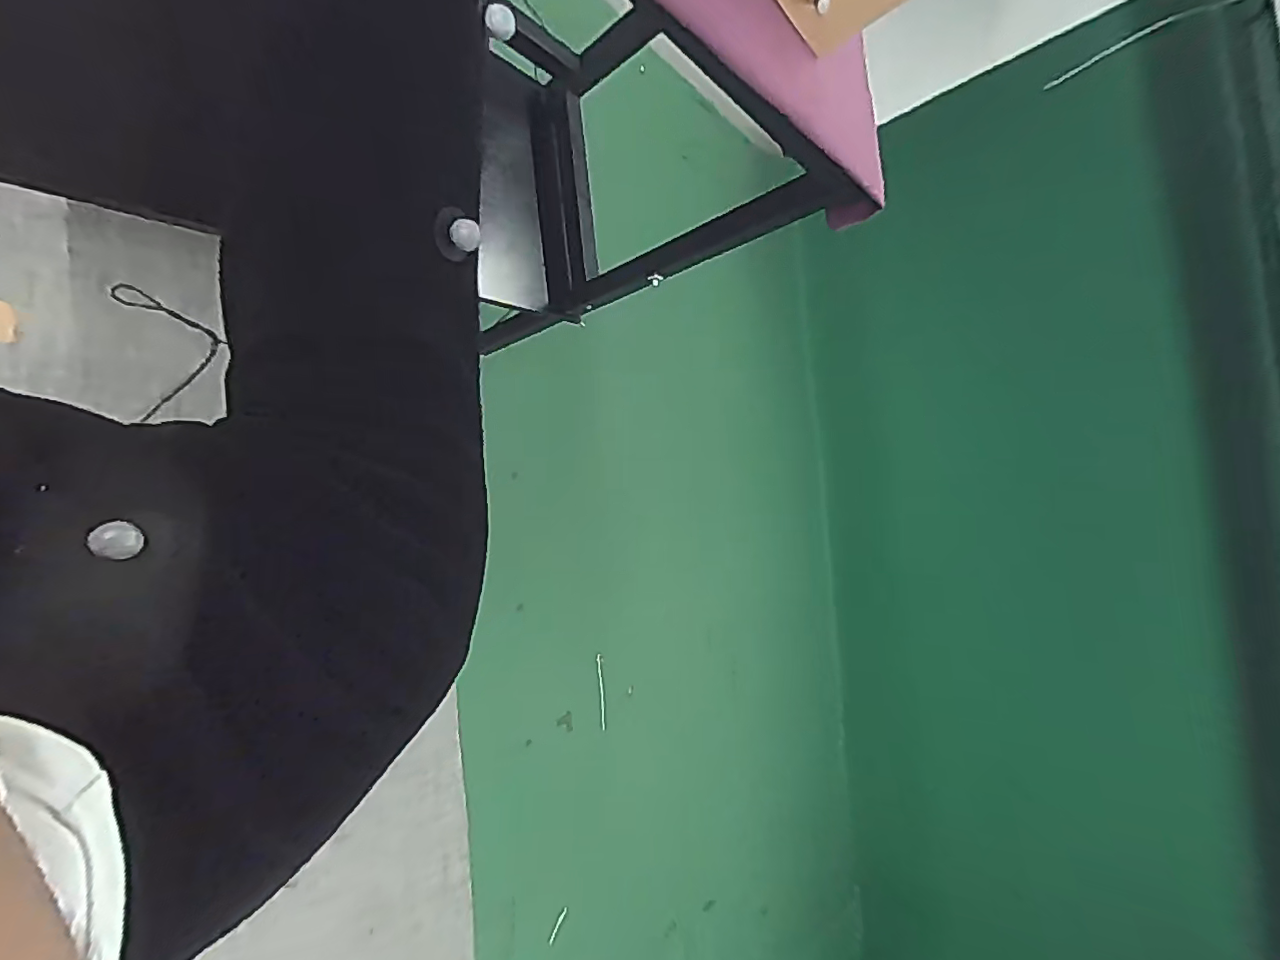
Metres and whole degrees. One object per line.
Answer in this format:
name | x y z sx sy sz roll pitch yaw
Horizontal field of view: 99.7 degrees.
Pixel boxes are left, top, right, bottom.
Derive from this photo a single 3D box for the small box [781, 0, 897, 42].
small box | 0.231 -0.650 0.606 0.179 0.176 0.168 -4 85 -50
